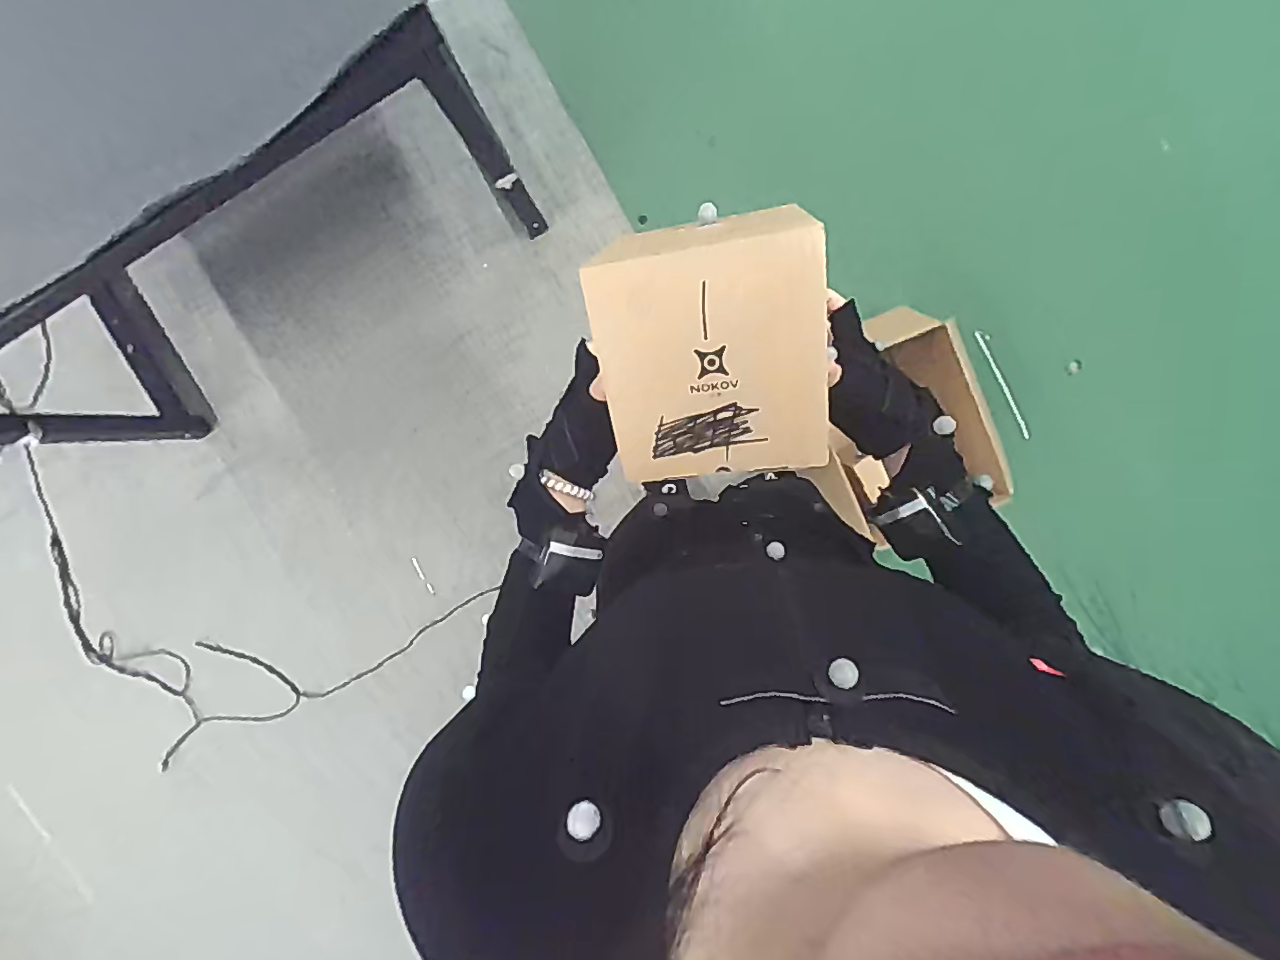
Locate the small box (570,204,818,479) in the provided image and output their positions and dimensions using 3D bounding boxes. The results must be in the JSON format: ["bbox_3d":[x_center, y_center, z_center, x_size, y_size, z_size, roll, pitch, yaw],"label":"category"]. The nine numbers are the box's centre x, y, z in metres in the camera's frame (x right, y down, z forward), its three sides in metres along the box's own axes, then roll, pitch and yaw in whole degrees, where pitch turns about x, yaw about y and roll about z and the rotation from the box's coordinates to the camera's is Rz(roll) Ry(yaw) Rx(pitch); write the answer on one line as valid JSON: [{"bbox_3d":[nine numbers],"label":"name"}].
[{"bbox_3d":[0.056,-0.122,0.462,0.168,0.176,0.179,-6,119,11],"label":"small box"}]
